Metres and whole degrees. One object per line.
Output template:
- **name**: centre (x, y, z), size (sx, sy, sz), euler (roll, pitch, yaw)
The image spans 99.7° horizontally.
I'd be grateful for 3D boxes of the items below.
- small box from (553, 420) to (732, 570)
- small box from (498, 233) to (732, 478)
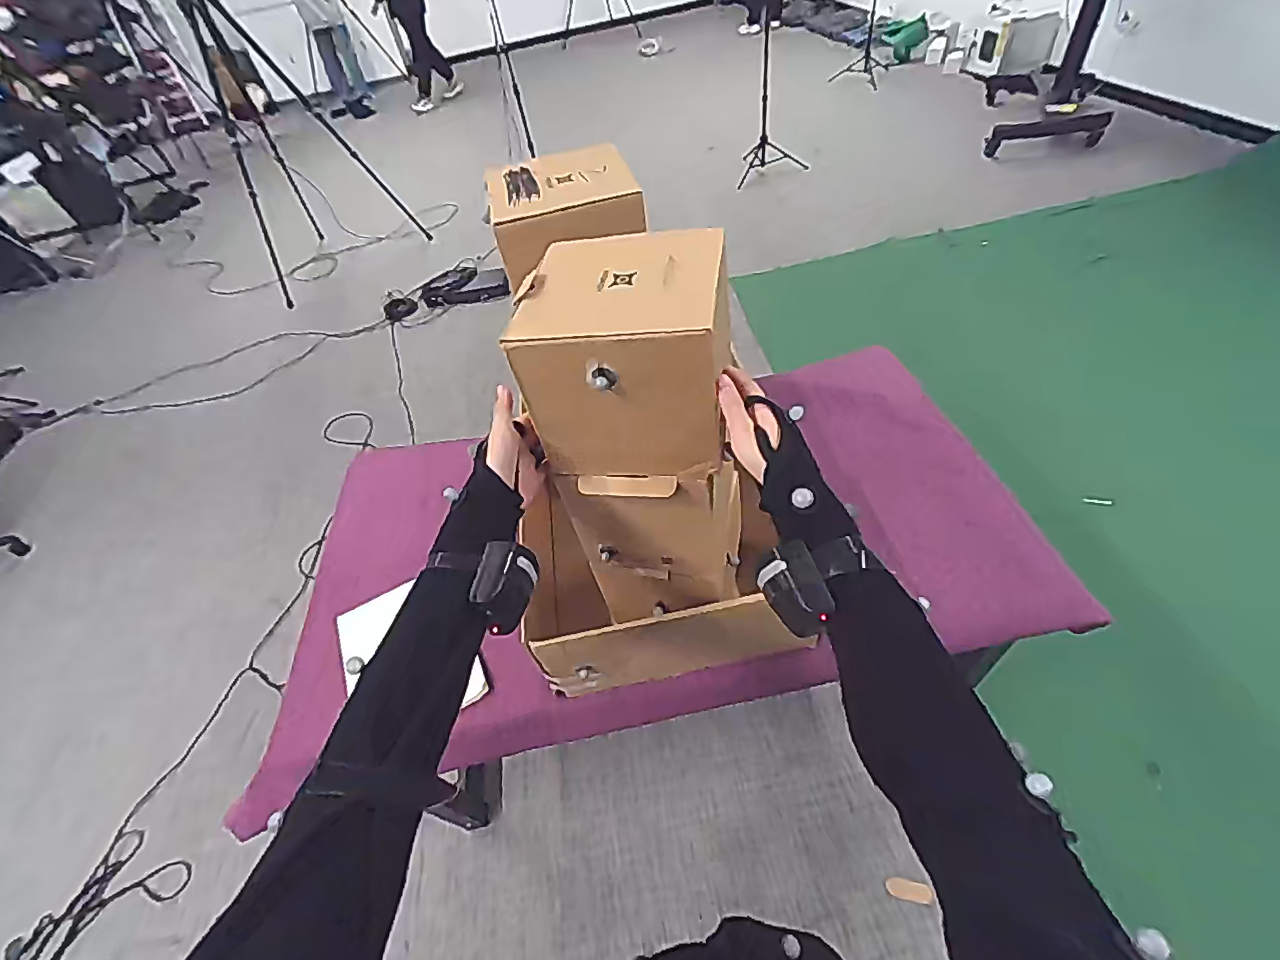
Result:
- **small box**: centre (0.019, -0.010, 0.649), size (0.168, 0.176, 0.179), euler (2, 48, 16)
- **small box**: centre (-0.006, -0.115, 0.528), size (0.179, 0.176, 0.168), euler (1, 49, 13)
